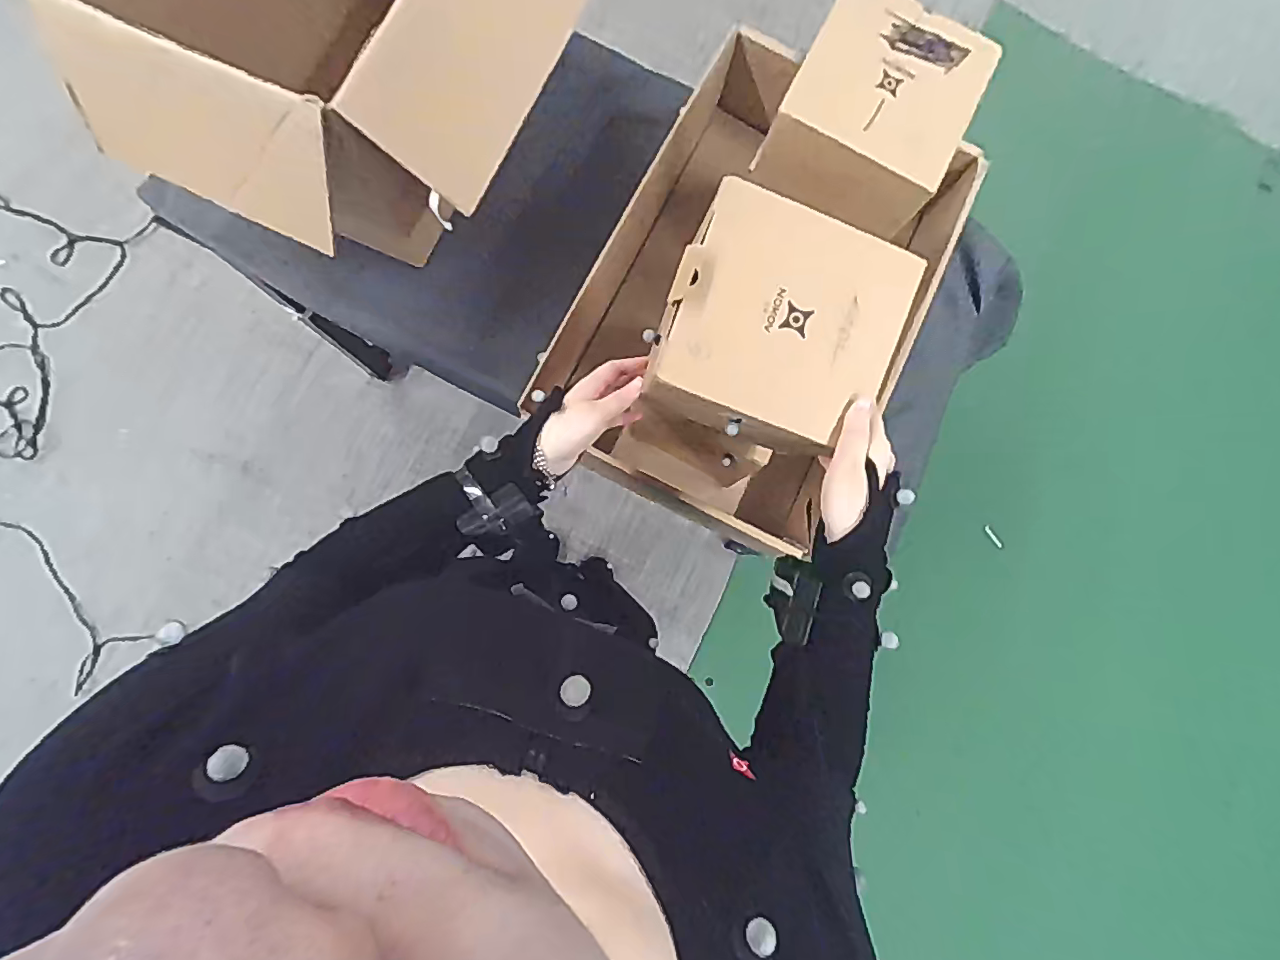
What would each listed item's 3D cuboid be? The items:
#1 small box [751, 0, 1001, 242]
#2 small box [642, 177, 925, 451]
[{"bbox_3d":[0.232,-0.365,0.587,0.168,0.176,0.179,28,83,-1],"label":"small box"},{"bbox_3d":[0.110,-0.131,0.497,0.179,0.176,0.168,20,93,-6],"label":"small box"}]
